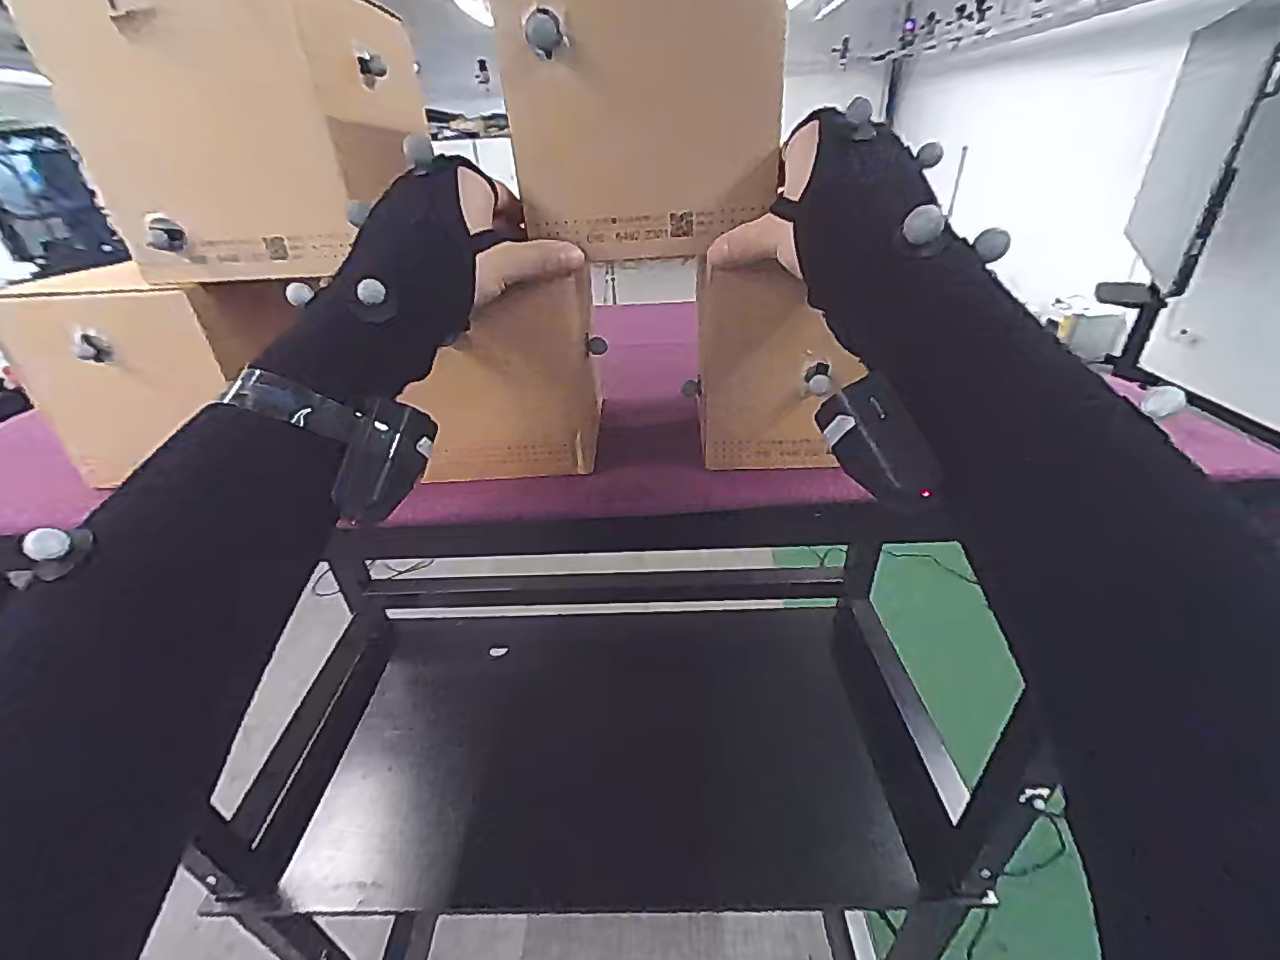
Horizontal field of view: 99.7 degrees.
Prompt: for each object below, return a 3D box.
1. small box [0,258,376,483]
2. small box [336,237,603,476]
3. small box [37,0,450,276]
[{"bbox_3d":[-0.385,-0.107,0.501,0.179,0.176,0.168,1,31,5],"label":"small box"},{"bbox_3d":[-0.128,-0.115,0.492,0.179,0.176,0.168,-3,31,1],"label":"small box"},{"bbox_3d":[-0.267,-0.259,0.423,0.168,0.176,0.179,-2,30,2],"label":"small box"}]
